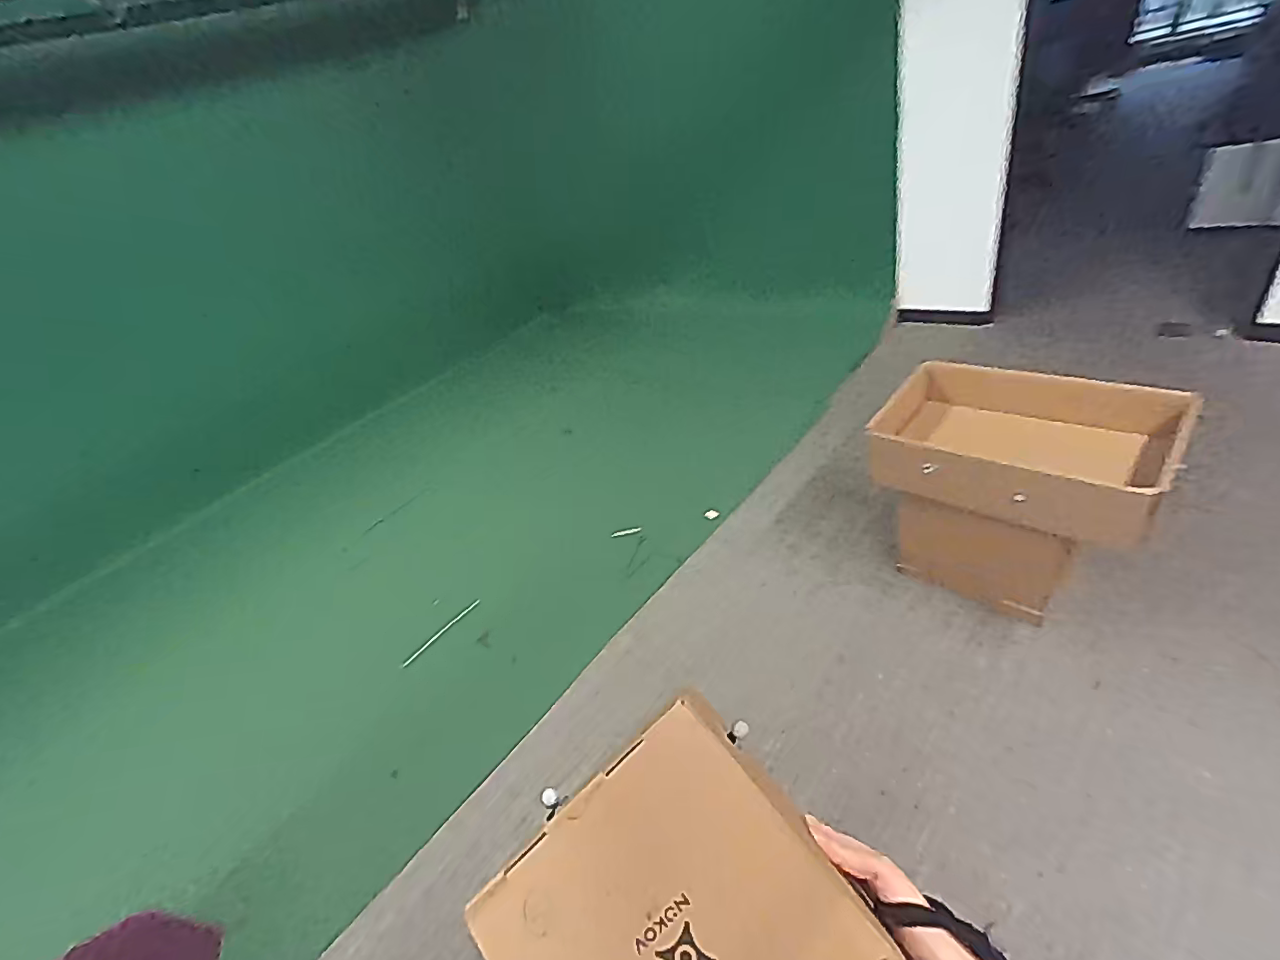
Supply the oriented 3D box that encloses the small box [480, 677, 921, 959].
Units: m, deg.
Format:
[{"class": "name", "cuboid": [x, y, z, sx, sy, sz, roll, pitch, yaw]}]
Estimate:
[{"class": "small box", "cuboid": [0.034, 0.252, 0.358, 0.168, 0.176, 0.179, -41, 73, -5]}]
